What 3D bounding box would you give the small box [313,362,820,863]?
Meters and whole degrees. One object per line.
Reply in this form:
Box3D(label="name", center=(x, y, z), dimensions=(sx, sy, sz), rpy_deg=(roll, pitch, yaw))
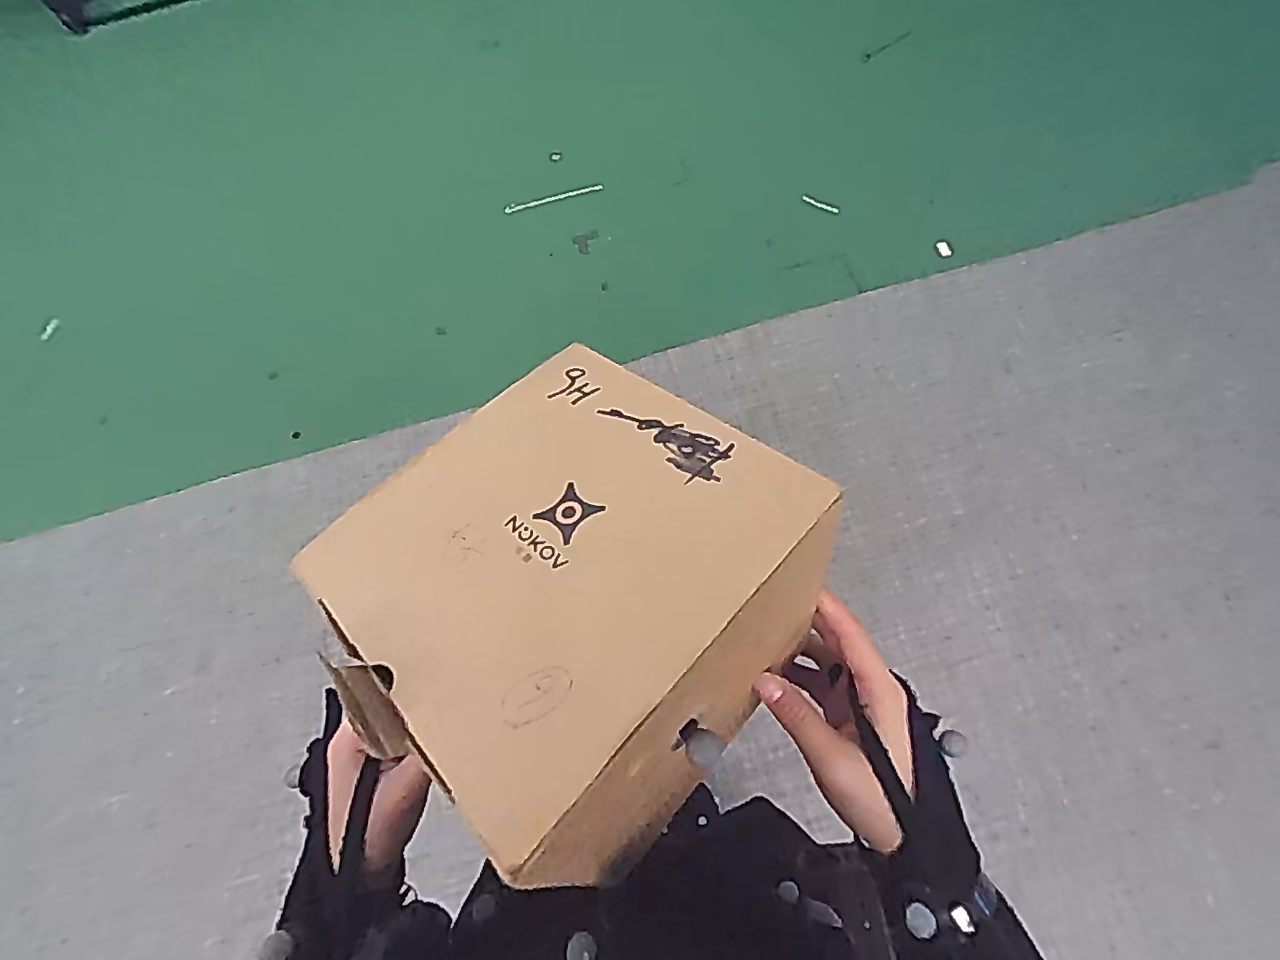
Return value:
Box3D(label="small box", center=(-0.024, 0.074, 0.300), dimensions=(0.168, 0.176, 0.179), rpy_deg=(34, 66, 30))
